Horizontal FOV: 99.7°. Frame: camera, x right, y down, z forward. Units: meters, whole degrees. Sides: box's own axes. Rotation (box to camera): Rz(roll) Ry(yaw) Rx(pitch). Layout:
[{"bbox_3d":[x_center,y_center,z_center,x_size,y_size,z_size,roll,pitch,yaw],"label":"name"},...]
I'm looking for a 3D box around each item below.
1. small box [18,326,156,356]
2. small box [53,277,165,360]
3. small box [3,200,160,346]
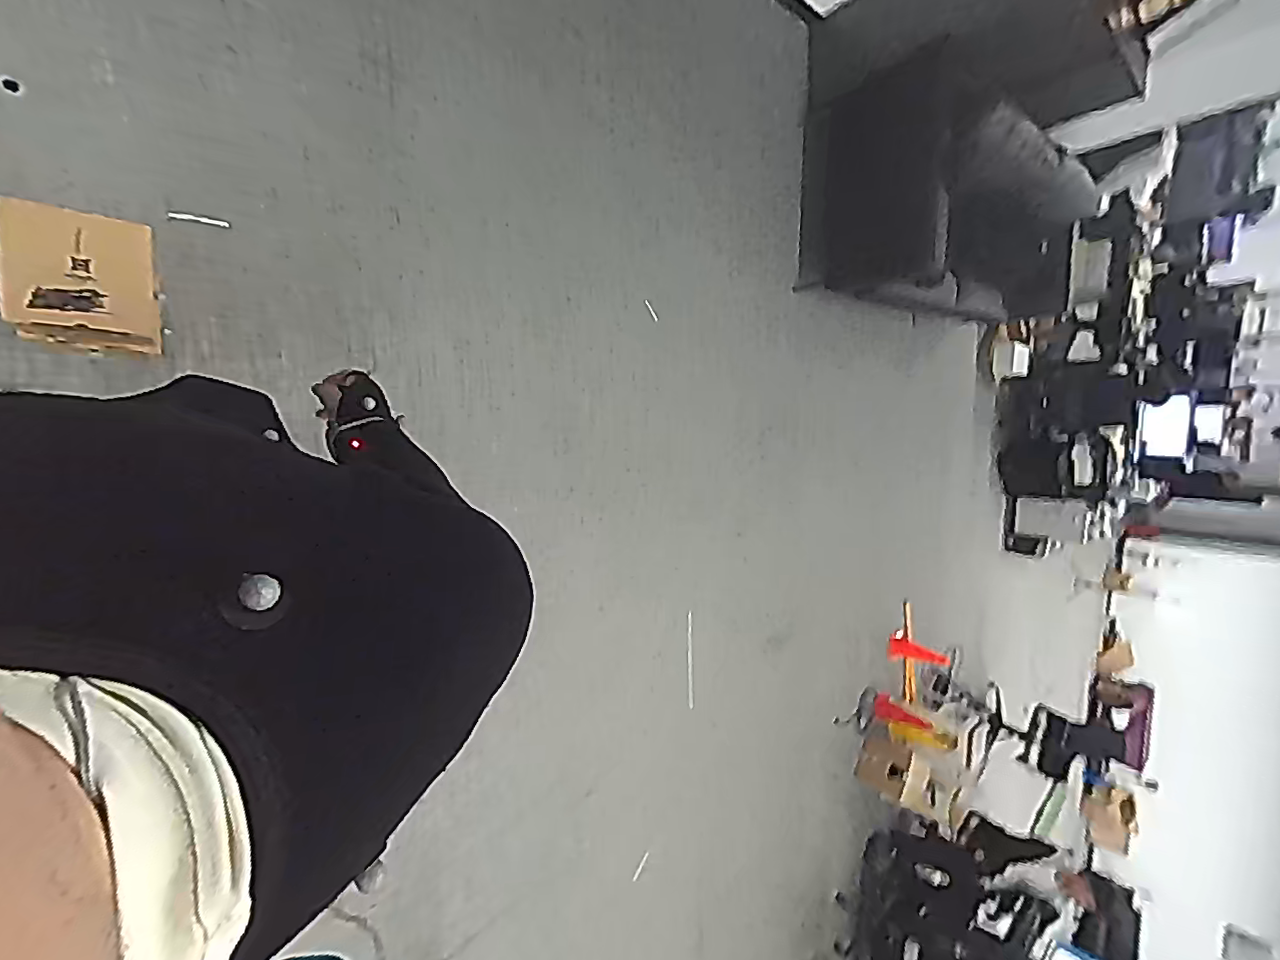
[{"bbox_3d":[-1.005,-0.328,0.995,0.168,0.176,0.179,0,96,-41],"label":"small box"},{"bbox_3d":[-1.107,-0.347,1.122,0.179,0.176,0.168,1,95,-41],"label":"small box"},{"bbox_3d":[-0.902,-0.323,0.889,0.168,0.176,0.179,-1,96,-41],"label":"small box"}]
